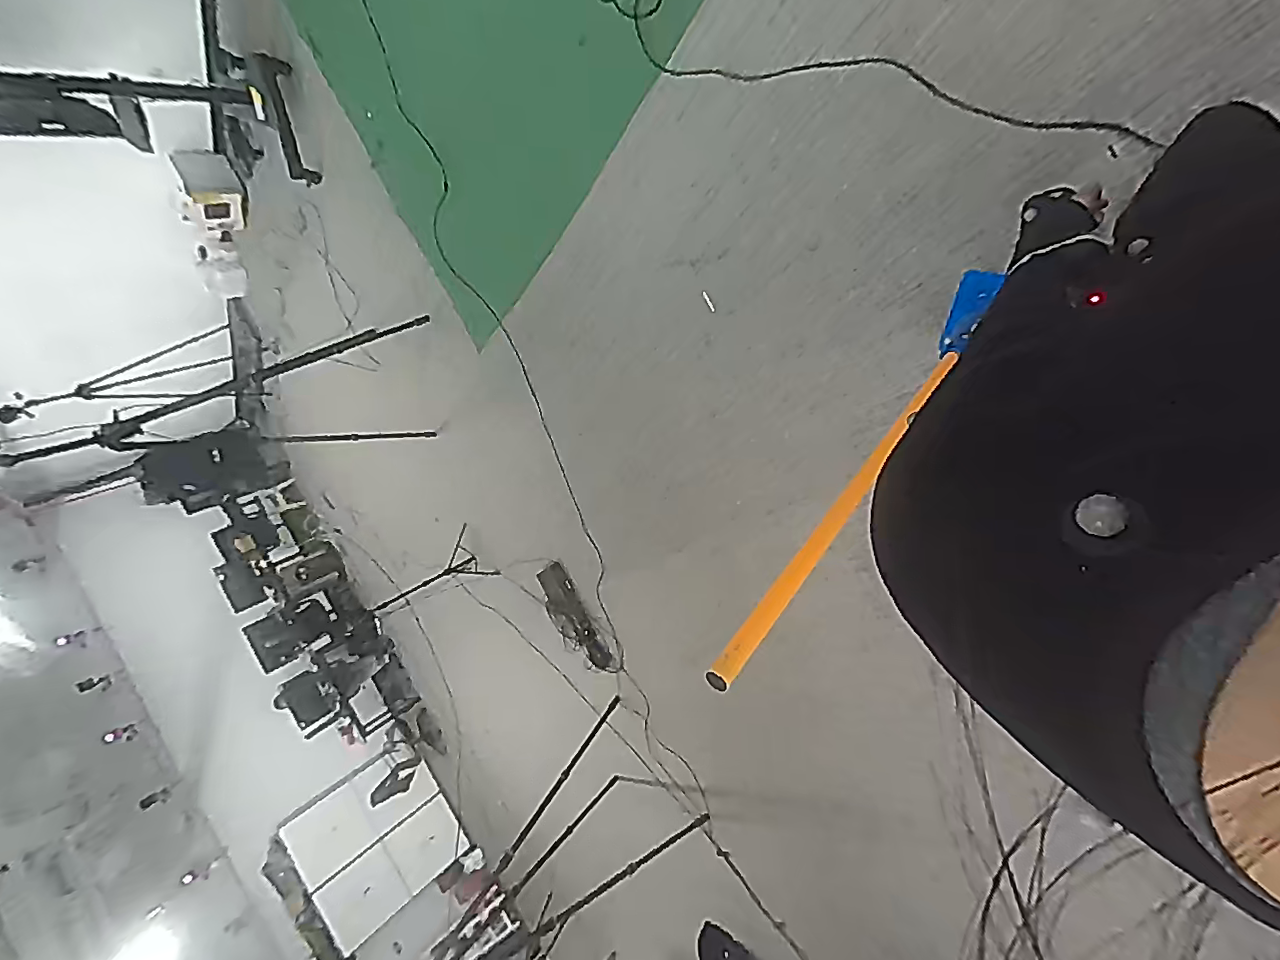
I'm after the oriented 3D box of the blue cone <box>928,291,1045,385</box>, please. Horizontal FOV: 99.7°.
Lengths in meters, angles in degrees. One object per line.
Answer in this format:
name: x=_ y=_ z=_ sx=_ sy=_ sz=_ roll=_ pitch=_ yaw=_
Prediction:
blue cone: x=0.707 y=-0.271 z=1.157 sx=0.192 sy=0.380 sz=0.193 roll=26 pitch=130 yaw=34
